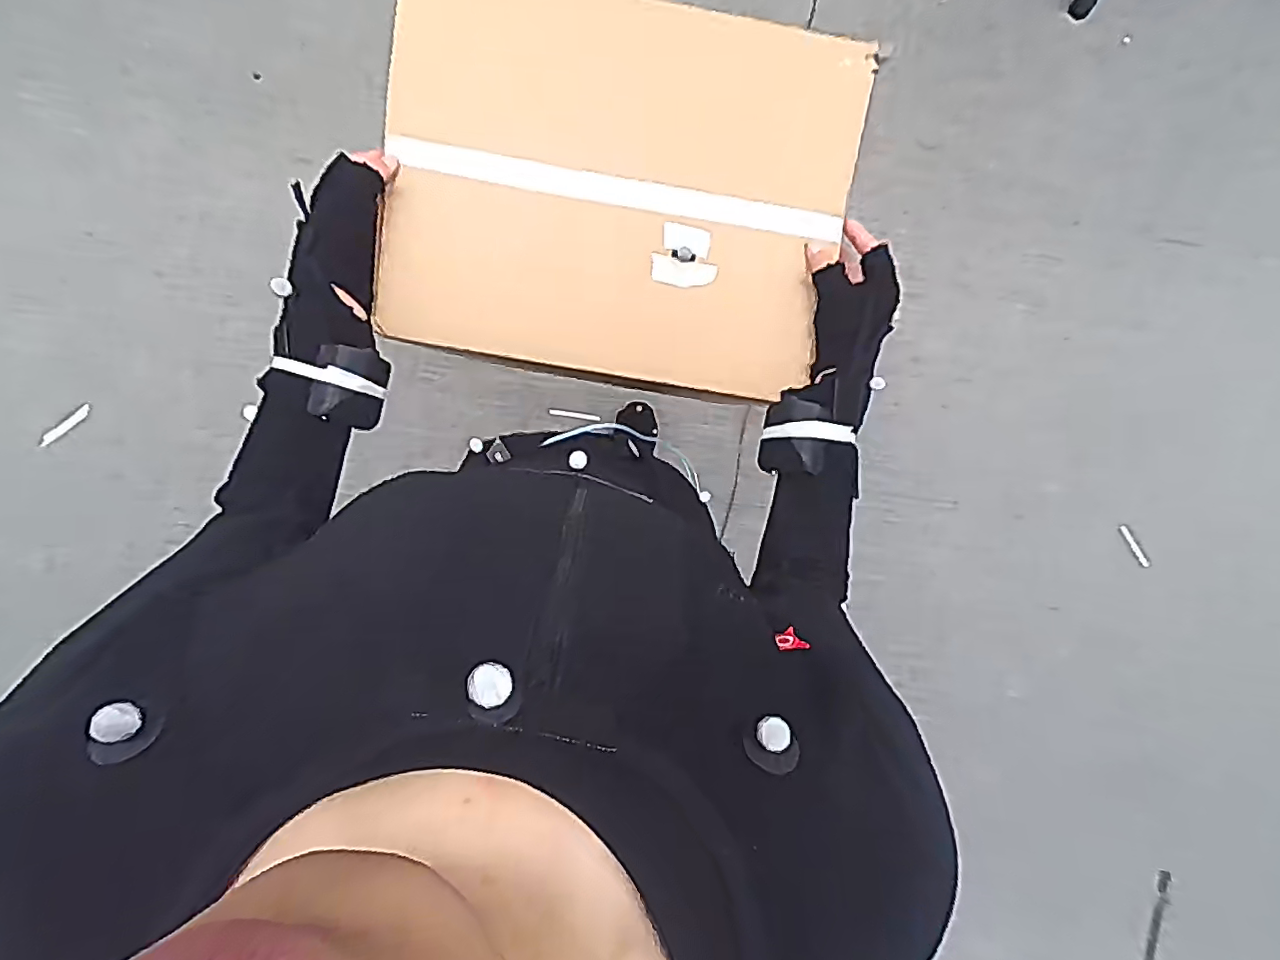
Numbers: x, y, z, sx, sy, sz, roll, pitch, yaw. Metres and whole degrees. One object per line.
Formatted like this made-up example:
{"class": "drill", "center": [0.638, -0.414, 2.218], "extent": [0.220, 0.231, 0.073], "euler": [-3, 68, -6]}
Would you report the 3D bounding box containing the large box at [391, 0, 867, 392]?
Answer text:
{"class": "large box", "center": [-0.022, -0.287, 0.637], "extent": [0.408, 0.320, 0.320], "euler": [9, 99, -4]}
